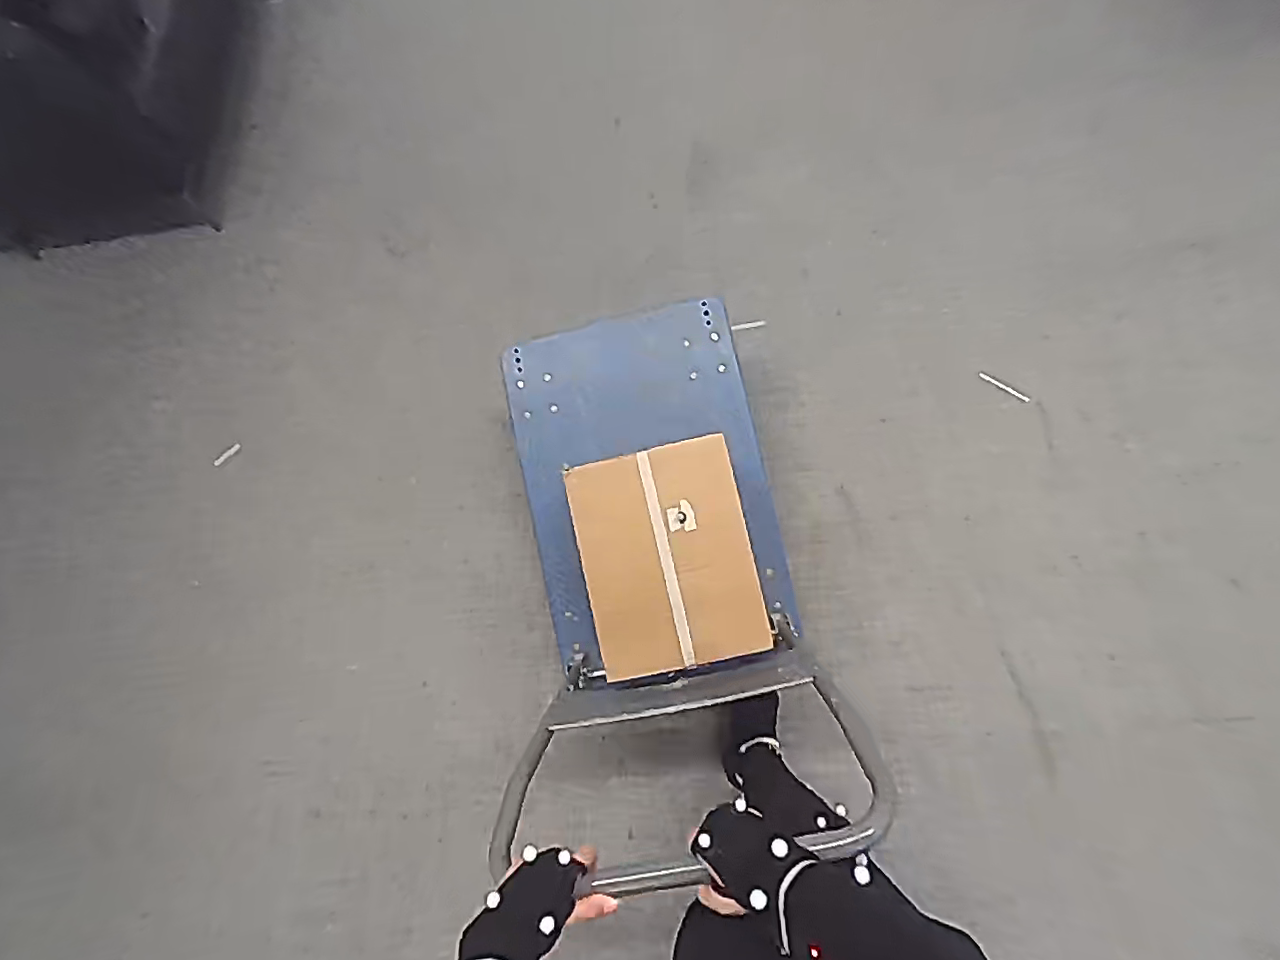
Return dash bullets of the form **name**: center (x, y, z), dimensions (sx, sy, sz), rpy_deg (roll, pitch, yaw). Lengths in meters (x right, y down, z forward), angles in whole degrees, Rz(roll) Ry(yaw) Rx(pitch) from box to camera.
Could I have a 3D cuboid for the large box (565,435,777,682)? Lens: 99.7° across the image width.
- **large box**: center (0.068, 0.152, 1.136), dimensions (0.320, 0.320, 0.408), rpy_deg (-13, 85, 4)
